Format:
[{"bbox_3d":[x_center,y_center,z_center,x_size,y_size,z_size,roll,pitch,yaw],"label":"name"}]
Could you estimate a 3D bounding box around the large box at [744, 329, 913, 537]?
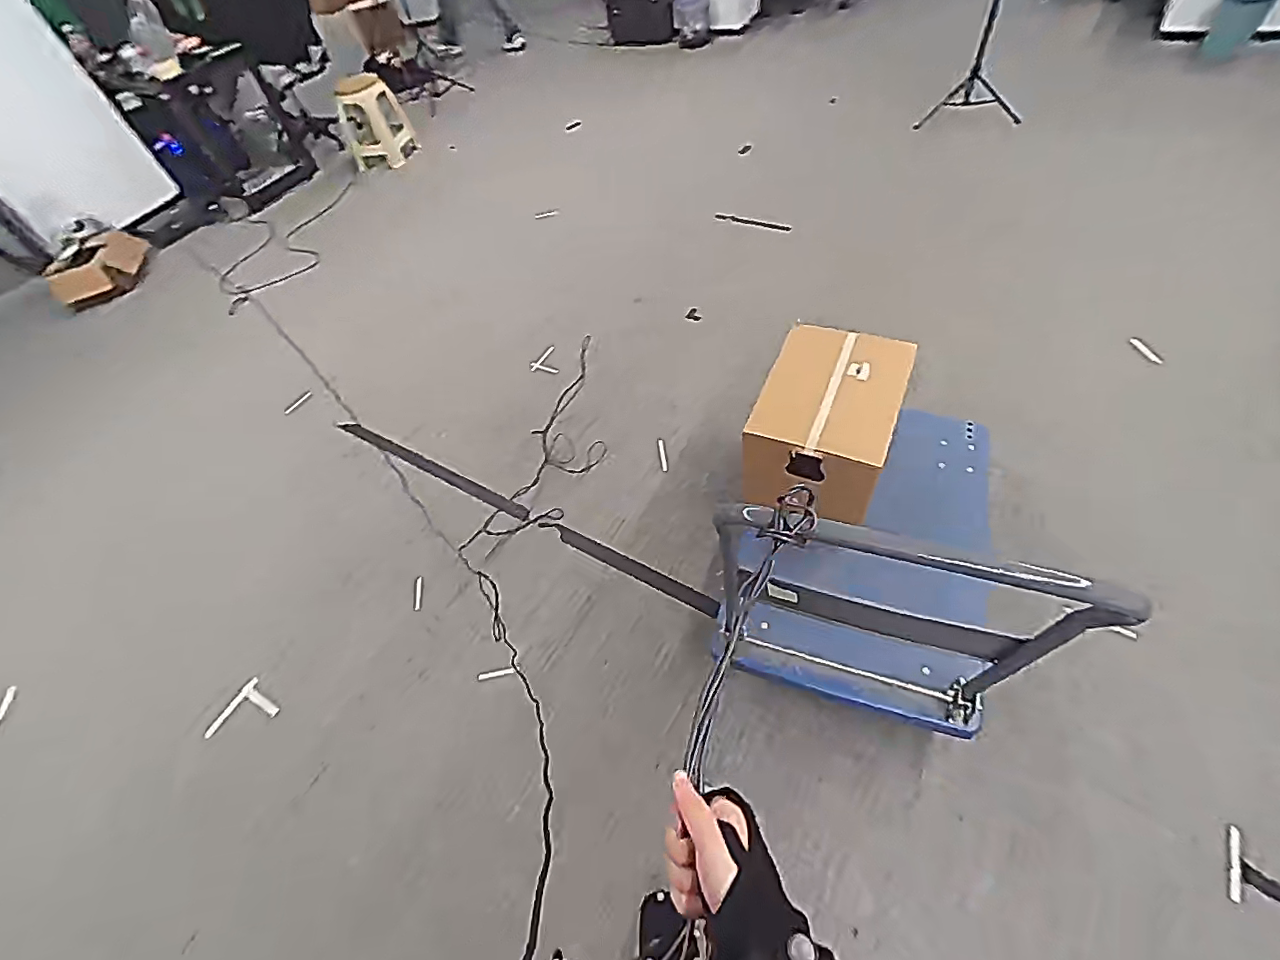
[{"bbox_3d":[0.477,-0.125,1.405,0.320,0.320,0.408,18,59,21],"label":"large box"}]
